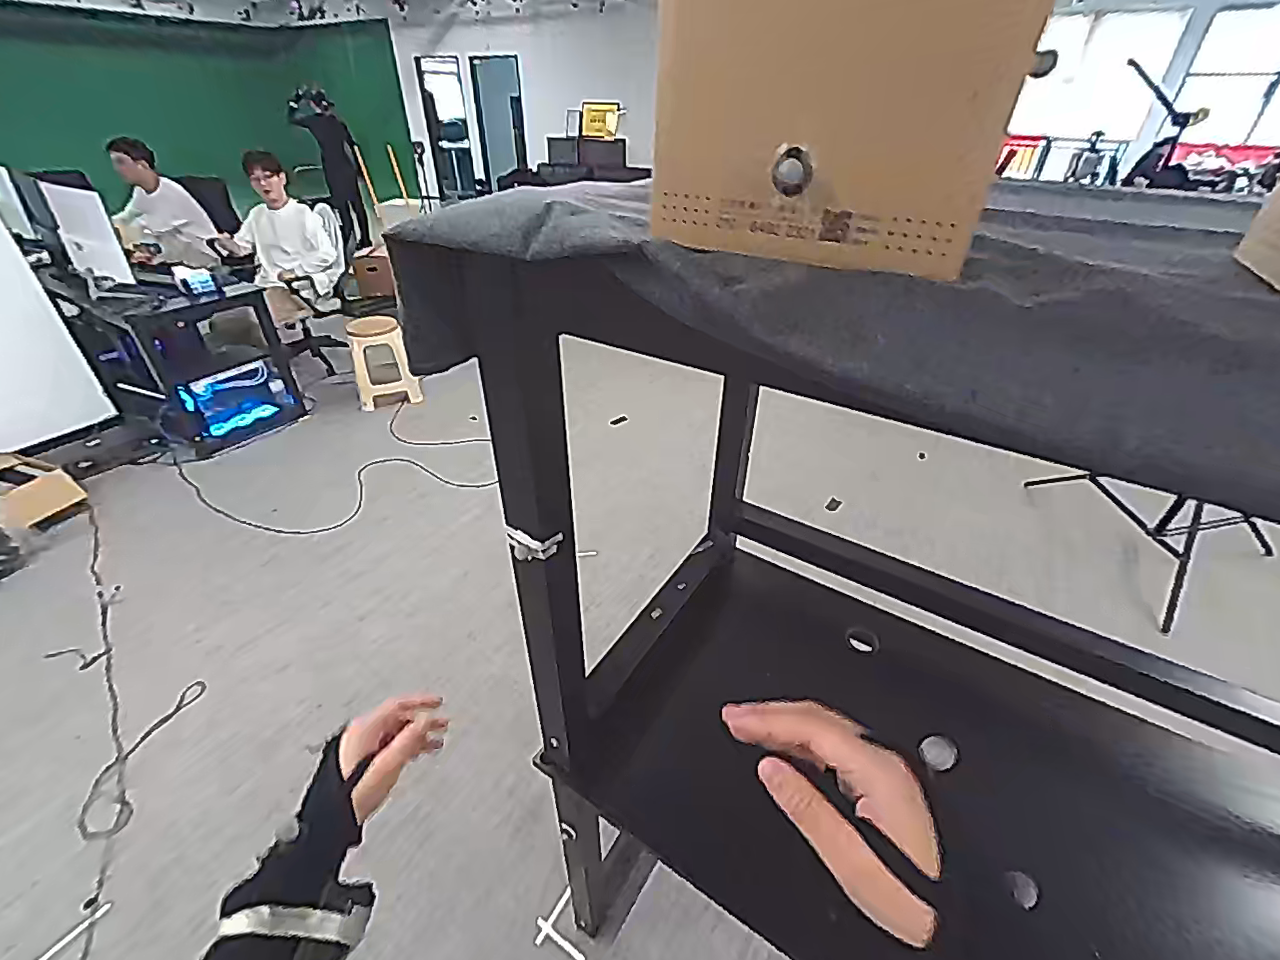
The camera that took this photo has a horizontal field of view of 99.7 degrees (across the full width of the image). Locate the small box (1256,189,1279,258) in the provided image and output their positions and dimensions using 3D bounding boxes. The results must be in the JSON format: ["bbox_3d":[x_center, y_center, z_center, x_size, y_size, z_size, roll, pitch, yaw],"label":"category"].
[{"bbox_3d":[0.389,-0.149,0.191,0.168,0.176,0.179,22,38,28],"label":"small box"}]
